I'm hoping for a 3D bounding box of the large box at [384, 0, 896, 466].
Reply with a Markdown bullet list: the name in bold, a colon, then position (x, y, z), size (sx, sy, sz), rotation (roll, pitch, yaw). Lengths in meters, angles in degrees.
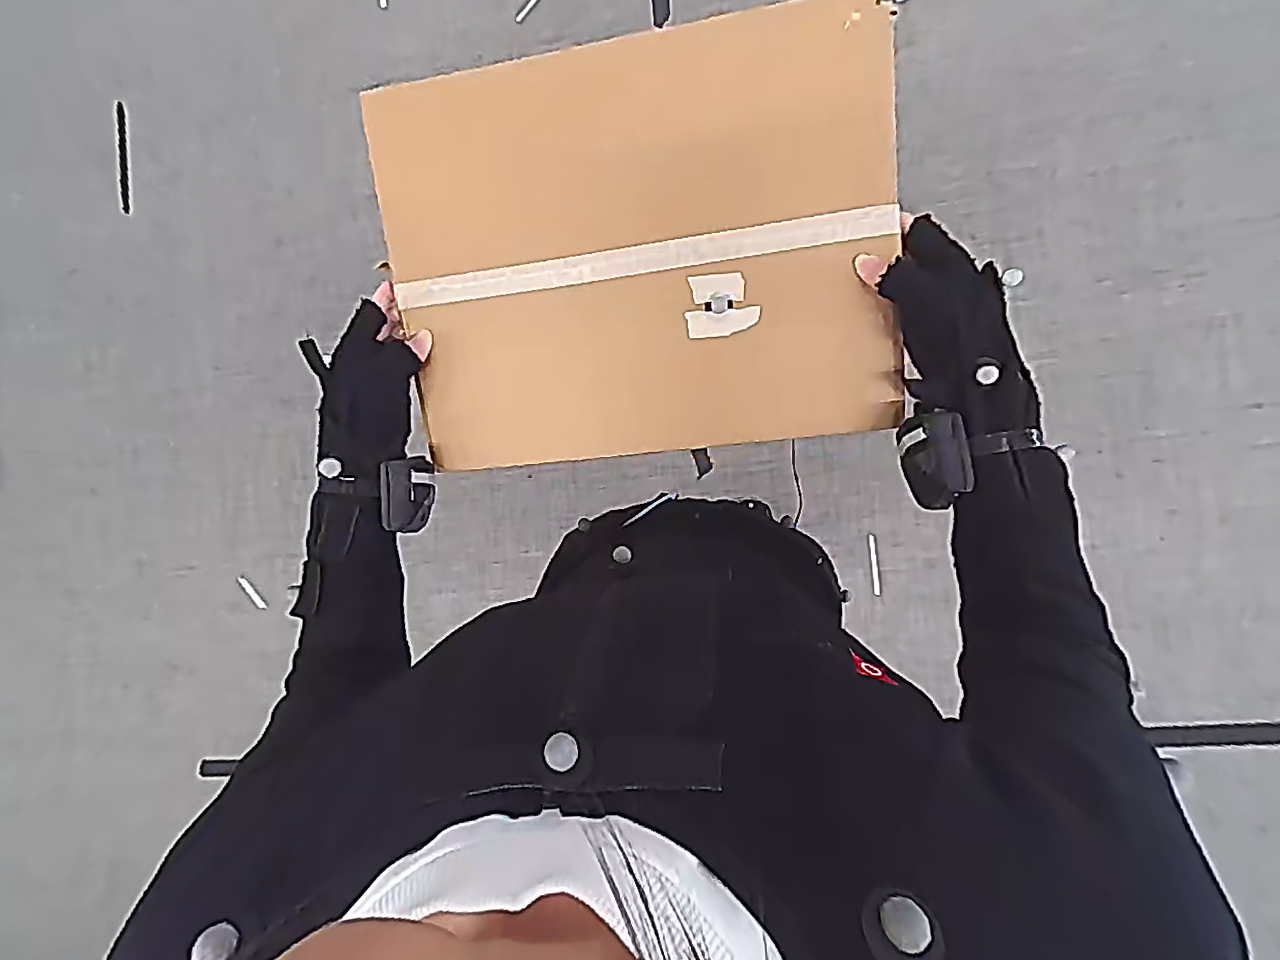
- **large box**: position (0.015, -0.211, 0.593), size (0.408, 0.320, 0.320), rotation (-6, 101, 8)
